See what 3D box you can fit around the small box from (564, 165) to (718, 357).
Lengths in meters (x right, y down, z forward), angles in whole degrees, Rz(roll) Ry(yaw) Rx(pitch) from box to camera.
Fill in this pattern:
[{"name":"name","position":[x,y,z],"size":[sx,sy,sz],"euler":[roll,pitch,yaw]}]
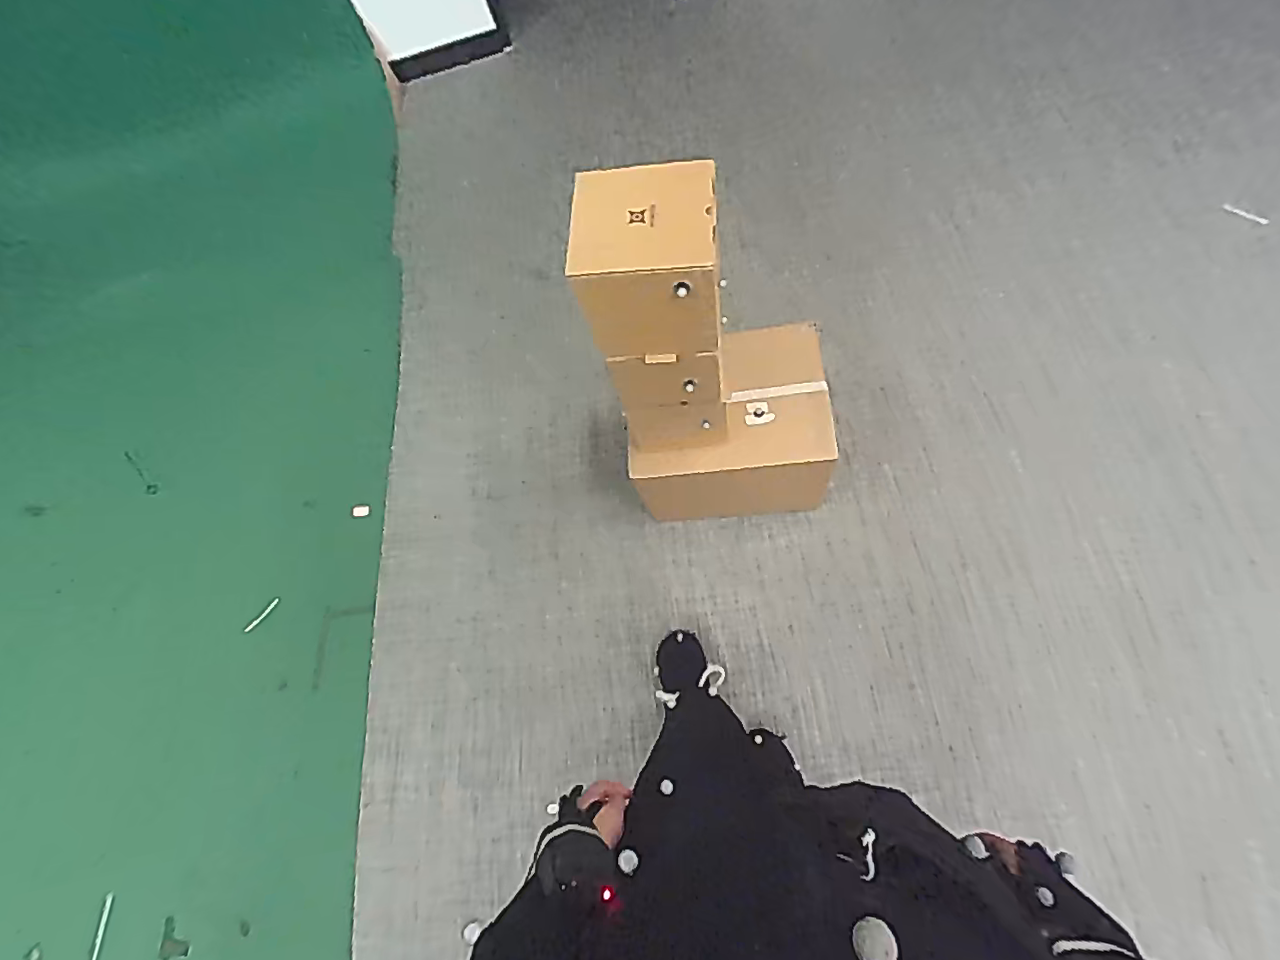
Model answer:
[{"name":"small box","position":[0.013,-0.277,0.715],"size":[0.179,0.176,0.168],"euler":[-1,69,9]}]

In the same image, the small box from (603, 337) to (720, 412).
[{"name":"small box","position":[0.042,-0.219,0.865],"size":[0.168,0.176,0.179],"euler":[-2,68,8]}]

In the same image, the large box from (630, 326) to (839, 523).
[{"name":"large box","position":[0.197,-0.105,1.233],"size":[0.408,0.320,0.320],"euler":[-6,70,8]}]
